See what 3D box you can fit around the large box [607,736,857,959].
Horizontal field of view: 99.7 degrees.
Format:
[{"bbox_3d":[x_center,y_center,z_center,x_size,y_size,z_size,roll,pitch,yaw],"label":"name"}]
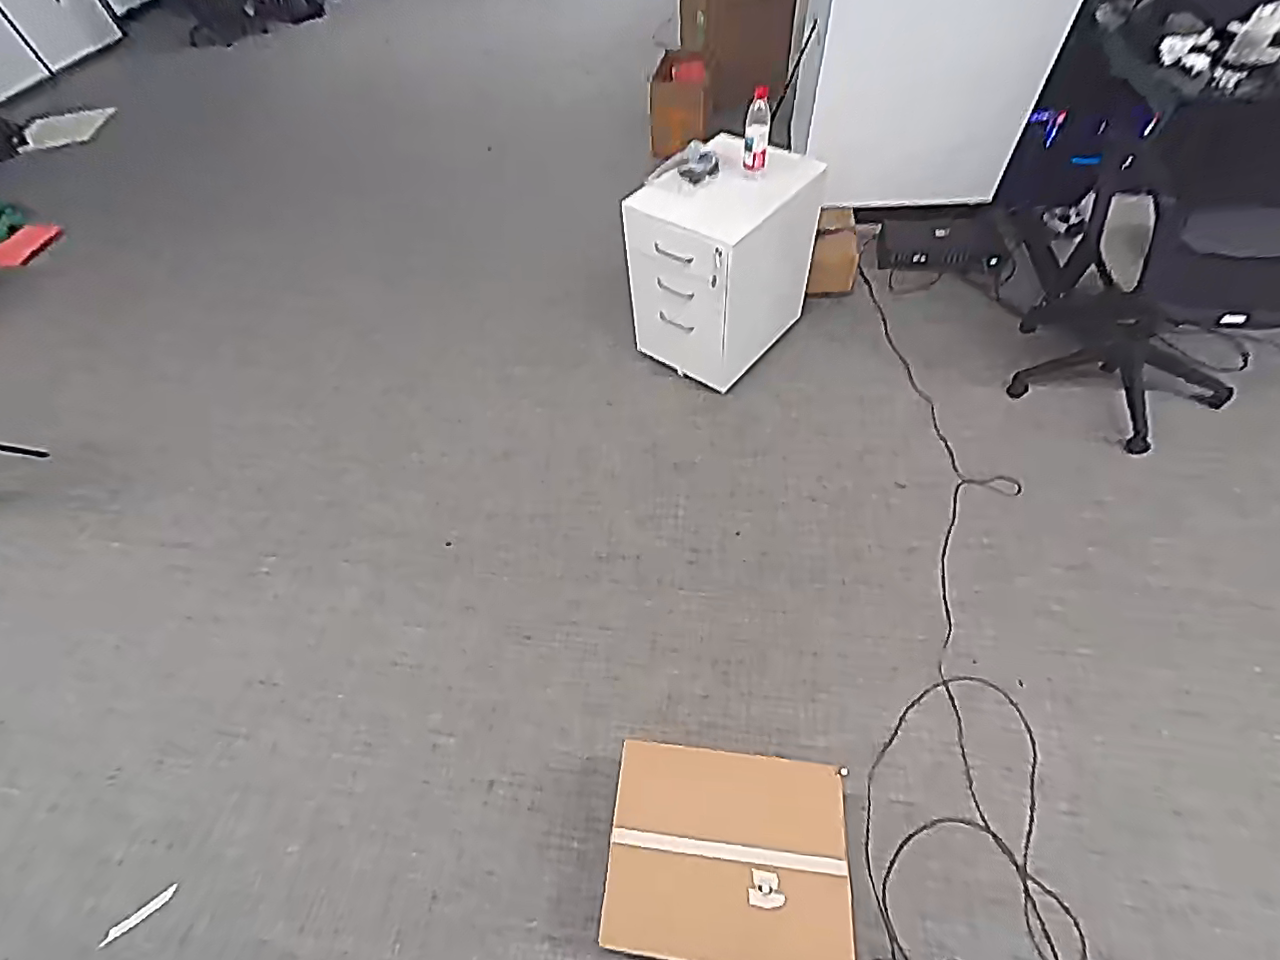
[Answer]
[{"bbox_3d":[0.166,0.719,1.063,0.408,0.320,0.320,4,56,8],"label":"large box"}]
